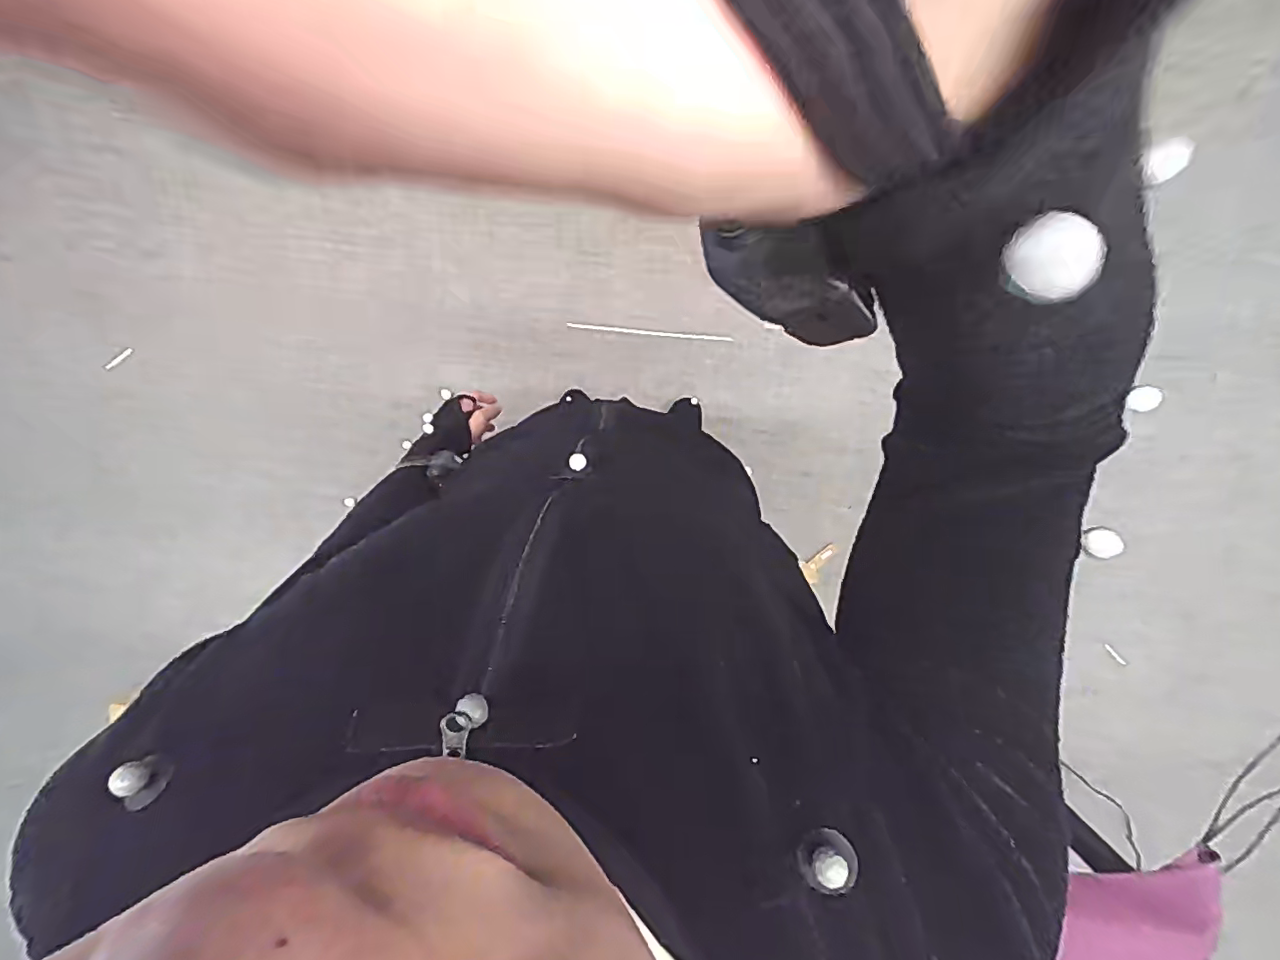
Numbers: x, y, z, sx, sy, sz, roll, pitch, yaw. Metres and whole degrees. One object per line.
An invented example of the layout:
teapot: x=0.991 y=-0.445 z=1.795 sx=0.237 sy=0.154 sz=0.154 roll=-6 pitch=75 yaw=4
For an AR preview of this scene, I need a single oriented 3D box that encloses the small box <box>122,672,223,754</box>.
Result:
small box: x=-1.455 y=0.721 z=1.688 sx=0.179 sy=0.176 sz=0.168 roll=7 pitch=99 yaw=0
